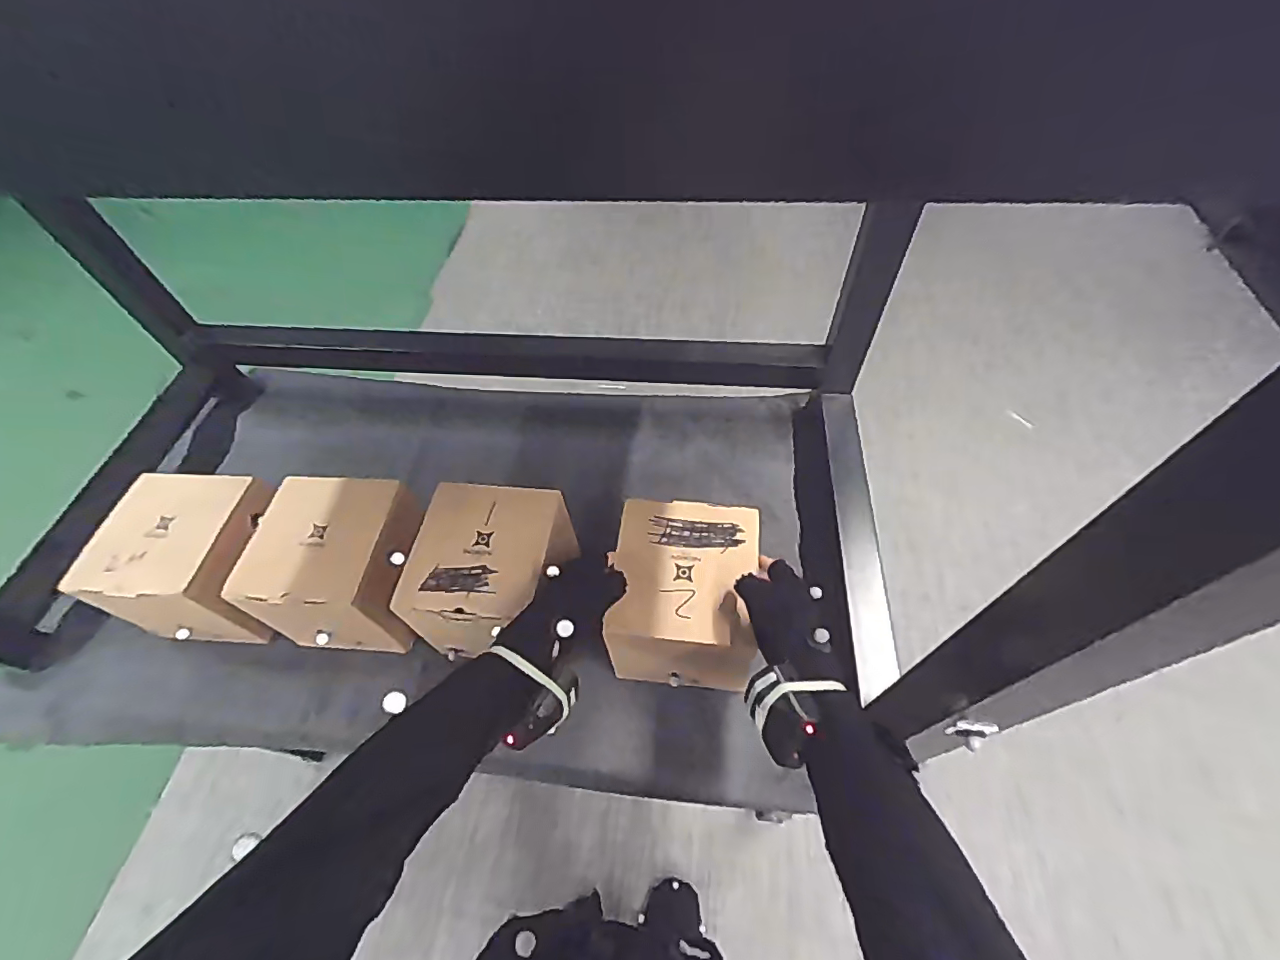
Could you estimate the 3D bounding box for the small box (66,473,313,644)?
[{"bbox_3d":[-0.598,0.110,0.753,0.168,0.176,0.179,2,55,5],"label":"small box"}]
